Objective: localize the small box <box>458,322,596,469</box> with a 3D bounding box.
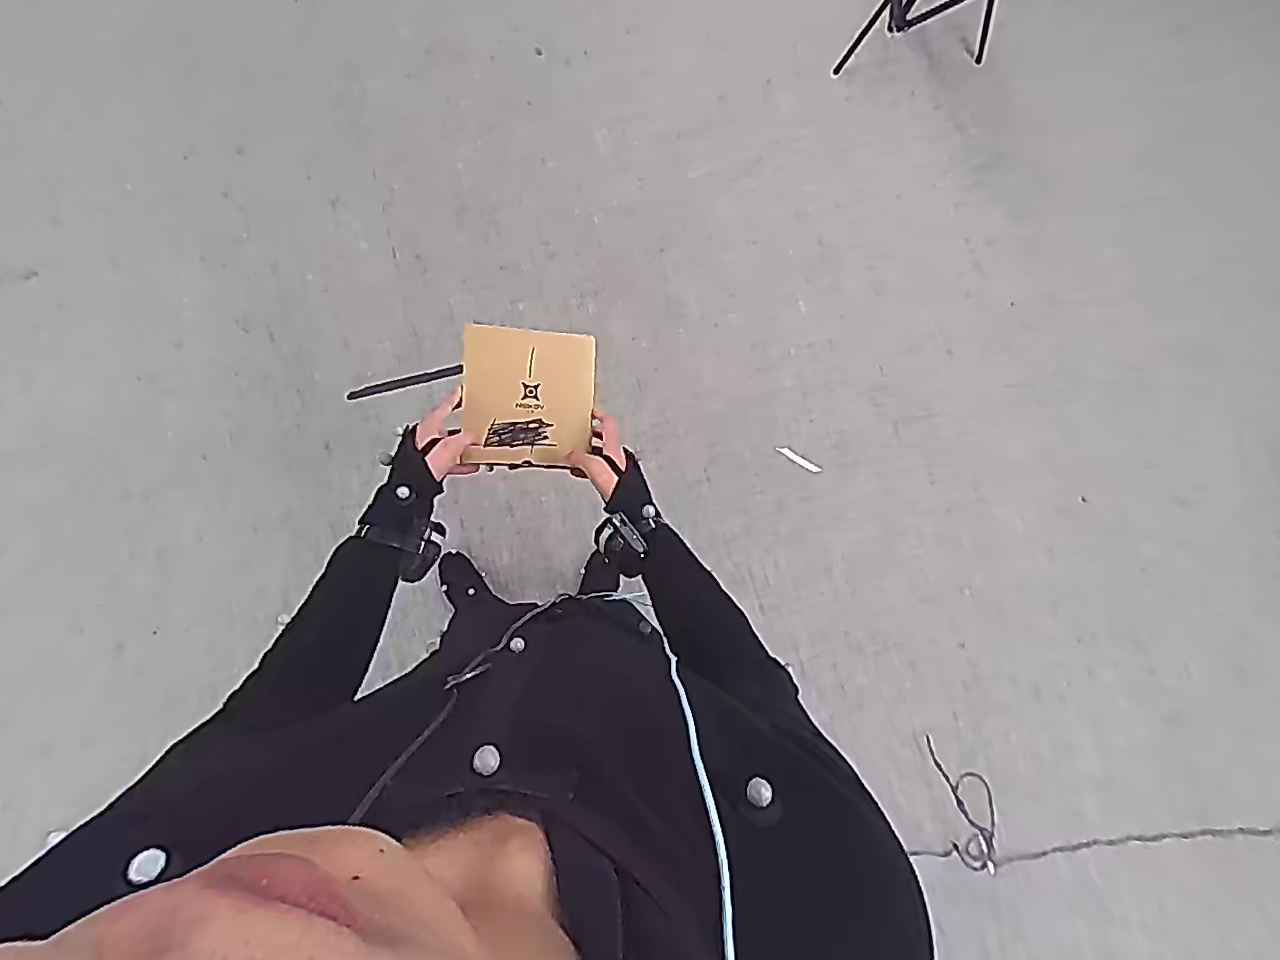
[{"bbox_3d":[-0.158,-0.109,0.760,0.168,0.176,0.179,2,92,-14],"label":"small box"}]
